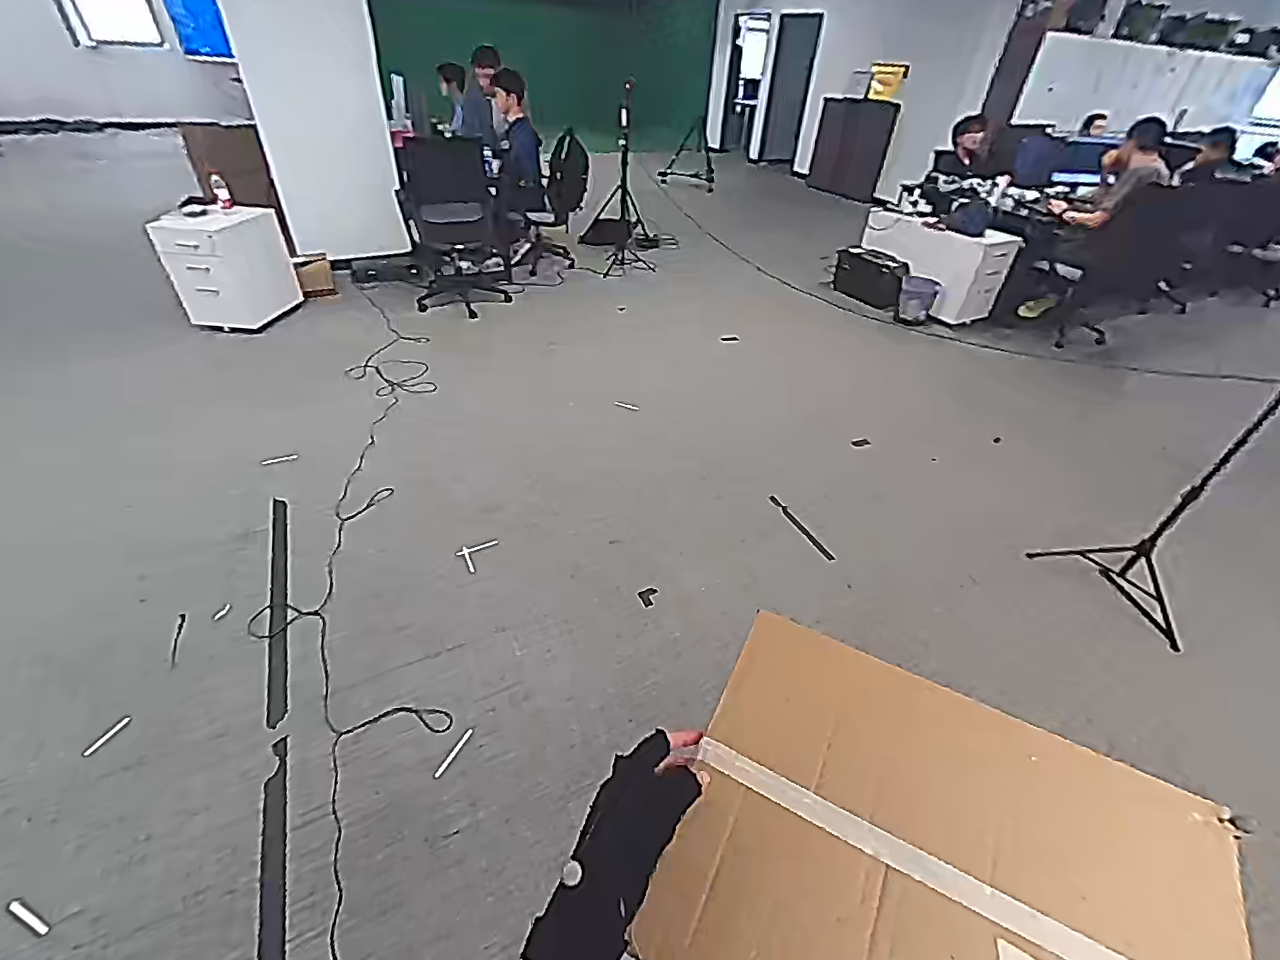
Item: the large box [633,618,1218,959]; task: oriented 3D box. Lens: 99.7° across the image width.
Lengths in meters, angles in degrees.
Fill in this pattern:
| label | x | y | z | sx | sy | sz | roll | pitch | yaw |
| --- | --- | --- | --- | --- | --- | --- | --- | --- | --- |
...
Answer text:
| label | x | y | z | sx | sy | sz | roll | pitch | yaw |
| --- | --- | --- | --- | --- | --- | --- | --- | --- | --- |
| large box | 0.241 | 0.413 | 0.561 | 0.408 | 0.320 | 0.320 | 21 | 54 | 20 |
